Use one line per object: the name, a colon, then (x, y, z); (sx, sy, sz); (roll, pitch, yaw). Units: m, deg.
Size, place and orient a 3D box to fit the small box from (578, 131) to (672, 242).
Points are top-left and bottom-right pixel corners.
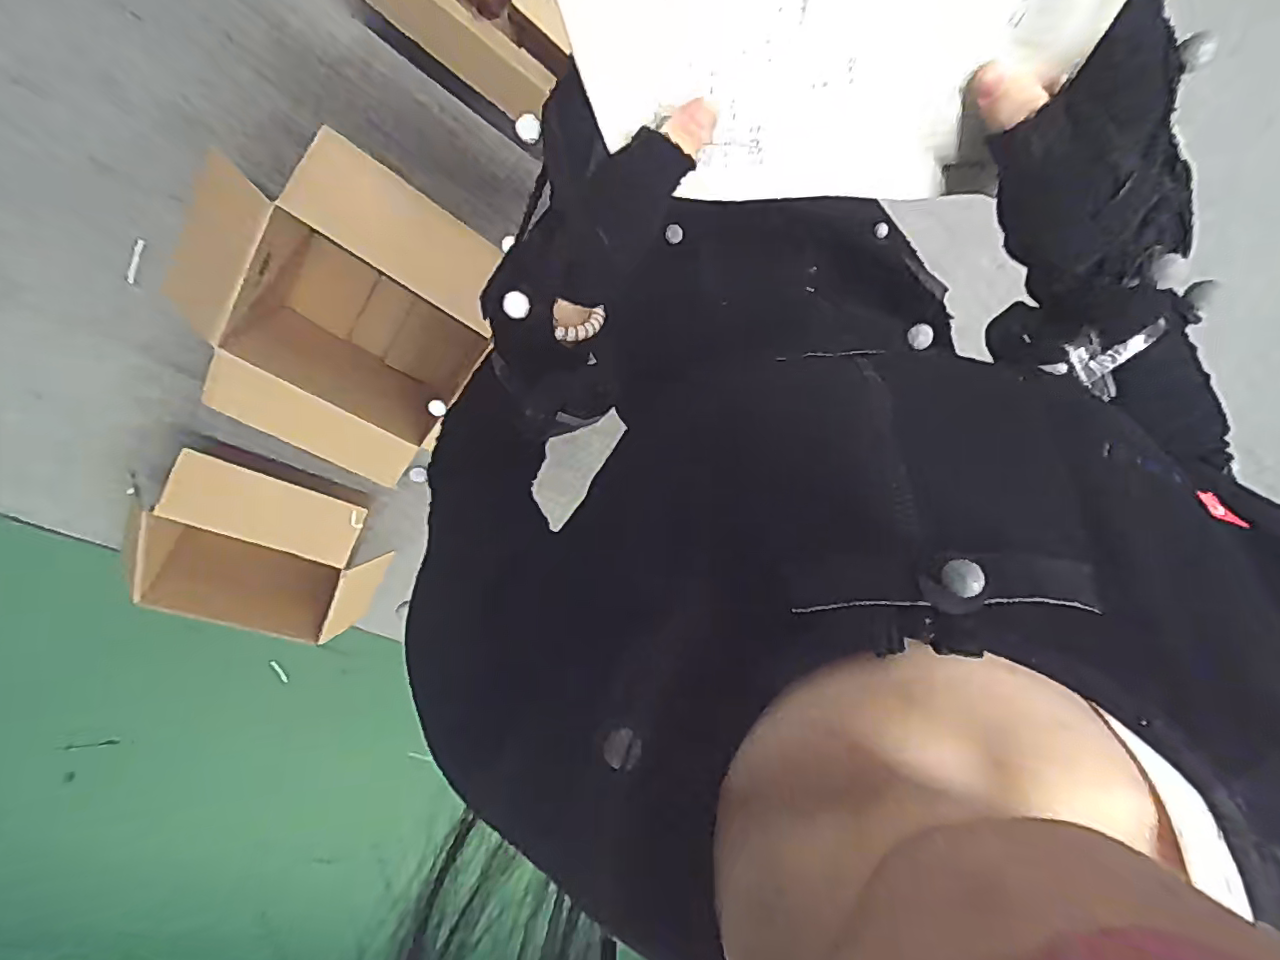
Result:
small box: (-0.034, -0.632, 1.161); (0.179, 0.176, 0.168); (11, 133, 3)
